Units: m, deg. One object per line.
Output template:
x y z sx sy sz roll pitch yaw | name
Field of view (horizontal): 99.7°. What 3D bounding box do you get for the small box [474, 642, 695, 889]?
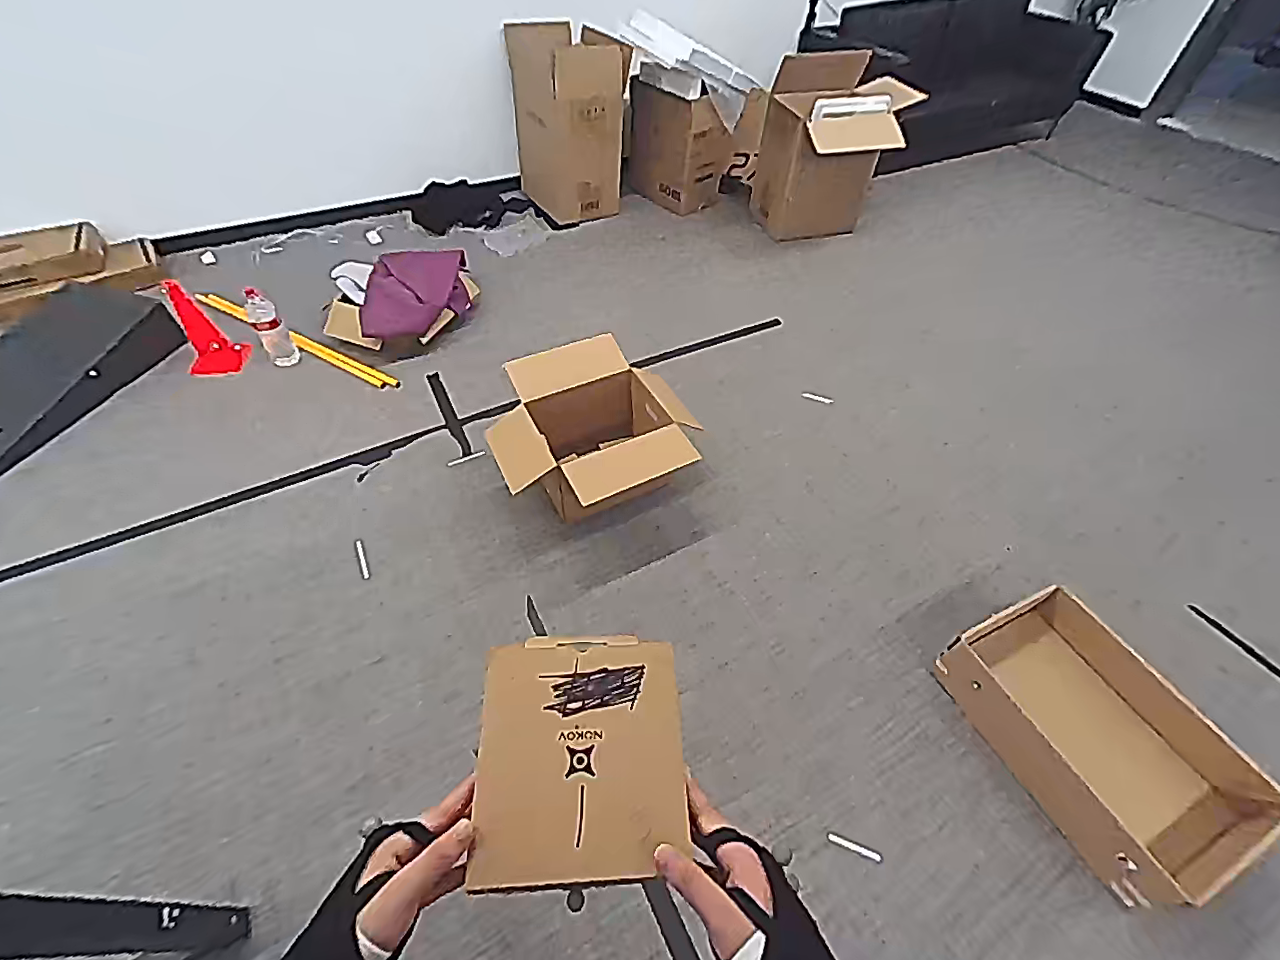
-0.051 0.269 0.509 0.168 0.176 0.179 0 52 -5 | small box
